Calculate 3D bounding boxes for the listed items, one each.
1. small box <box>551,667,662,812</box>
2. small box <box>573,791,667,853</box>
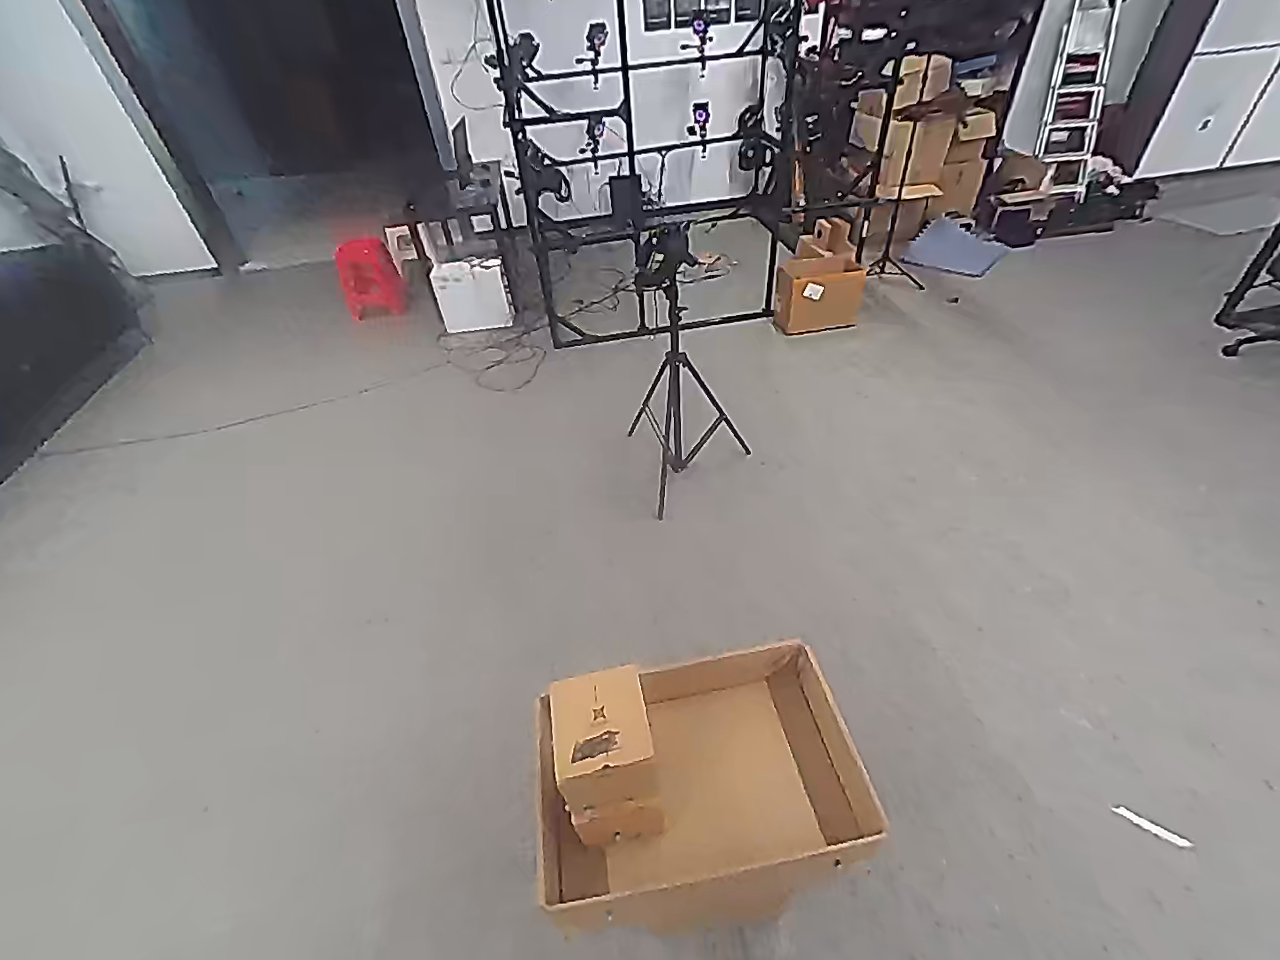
[{"bbox_3d":[-0.059,0.474,0.976,0.168,0.176,0.179,-11,41,-5],"label":"small box"},{"bbox_3d":[-0.045,0.604,1.076,0.168,0.176,0.179,-11,42,-4],"label":"small box"}]
